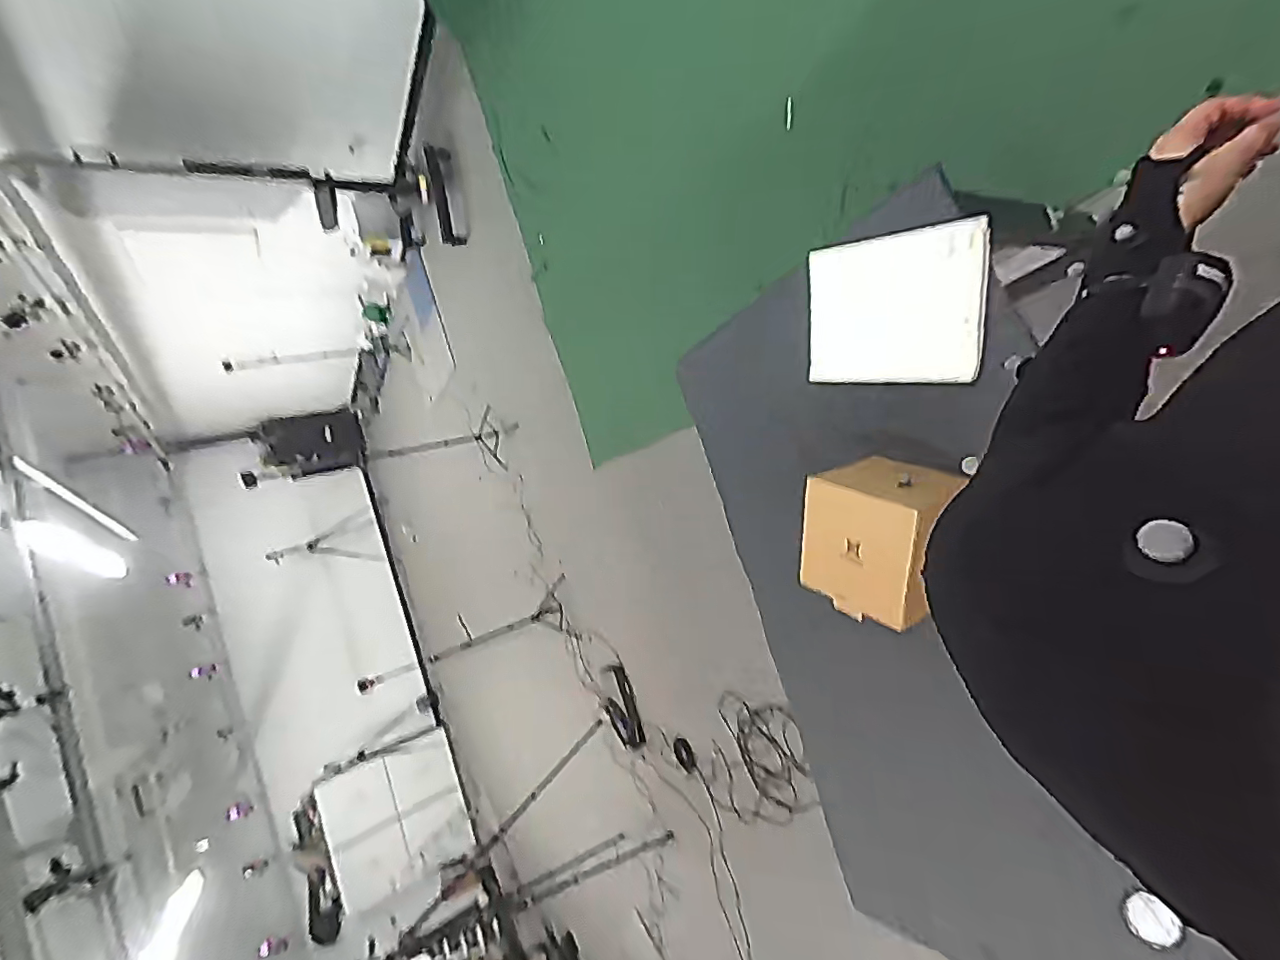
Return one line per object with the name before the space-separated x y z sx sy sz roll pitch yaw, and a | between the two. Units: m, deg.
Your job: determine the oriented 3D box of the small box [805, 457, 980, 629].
small box | 0.362 0.076 0.780 0.168 0.176 0.179 22 121 50
